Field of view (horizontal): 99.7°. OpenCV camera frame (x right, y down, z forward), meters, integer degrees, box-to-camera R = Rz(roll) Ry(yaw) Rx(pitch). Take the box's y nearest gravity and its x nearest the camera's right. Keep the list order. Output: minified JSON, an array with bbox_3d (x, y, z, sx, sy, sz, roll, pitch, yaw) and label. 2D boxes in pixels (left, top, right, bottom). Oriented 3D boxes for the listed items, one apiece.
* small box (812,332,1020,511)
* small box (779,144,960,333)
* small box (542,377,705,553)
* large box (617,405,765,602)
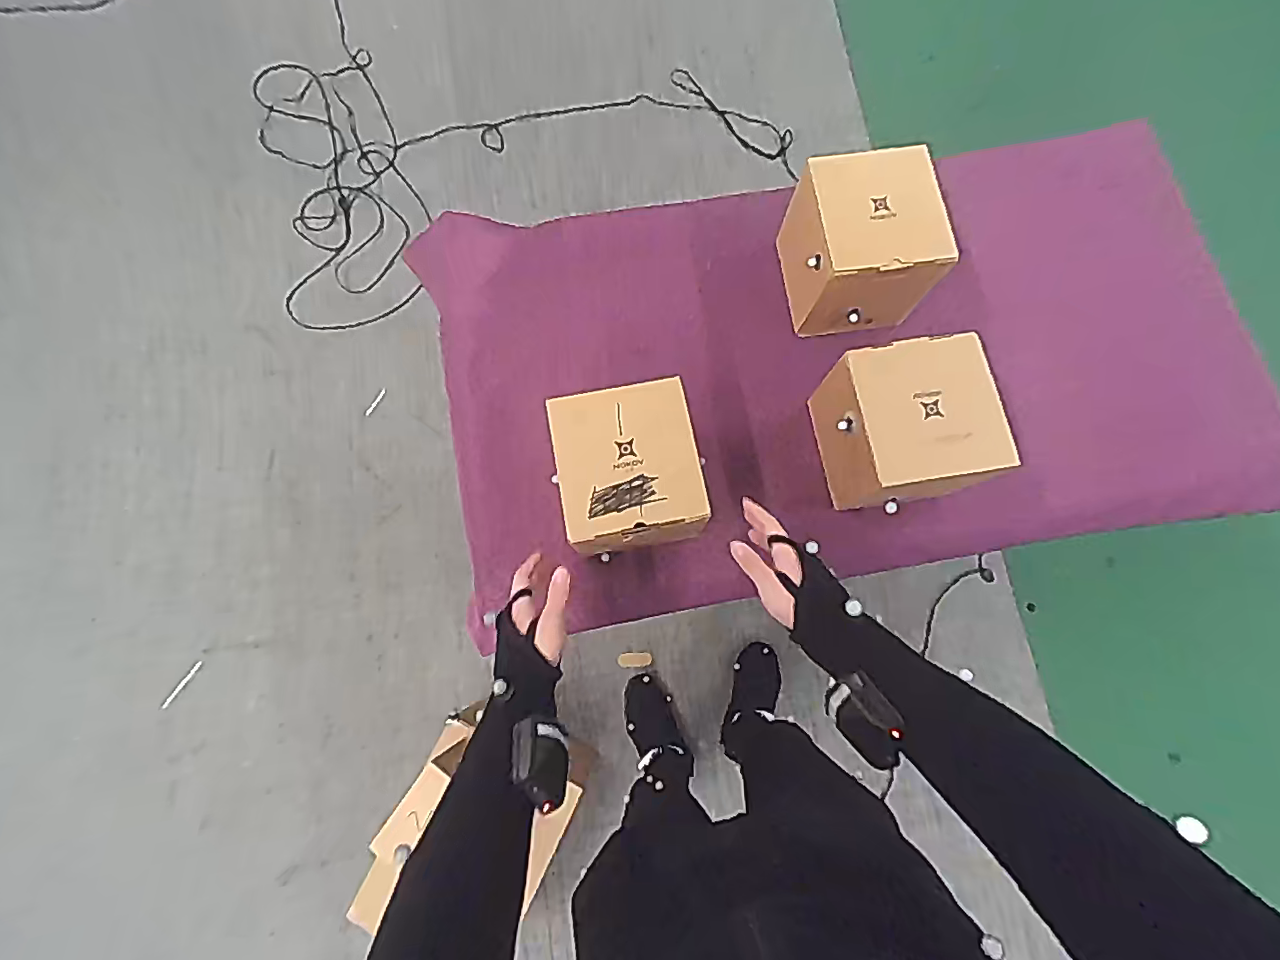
[{"bbox_3d":[0.339,-0.067,0.706,0.168,0.176,0.179,-8,77,-1],"label":"small box"},{"bbox_3d":[0.309,-0.333,0.768,0.168,0.176,0.179,-7,78,-2],"label":"small box"},{"bbox_3d":[-0.018,-0.007,0.693,0.168,0.176,0.179,-11,75,-2],"label":"small box"},{"bbox_3d":[0.091,0.076,1.354,0.320,0.320,0.408,-9,76,-2],"label":"large box"}]
